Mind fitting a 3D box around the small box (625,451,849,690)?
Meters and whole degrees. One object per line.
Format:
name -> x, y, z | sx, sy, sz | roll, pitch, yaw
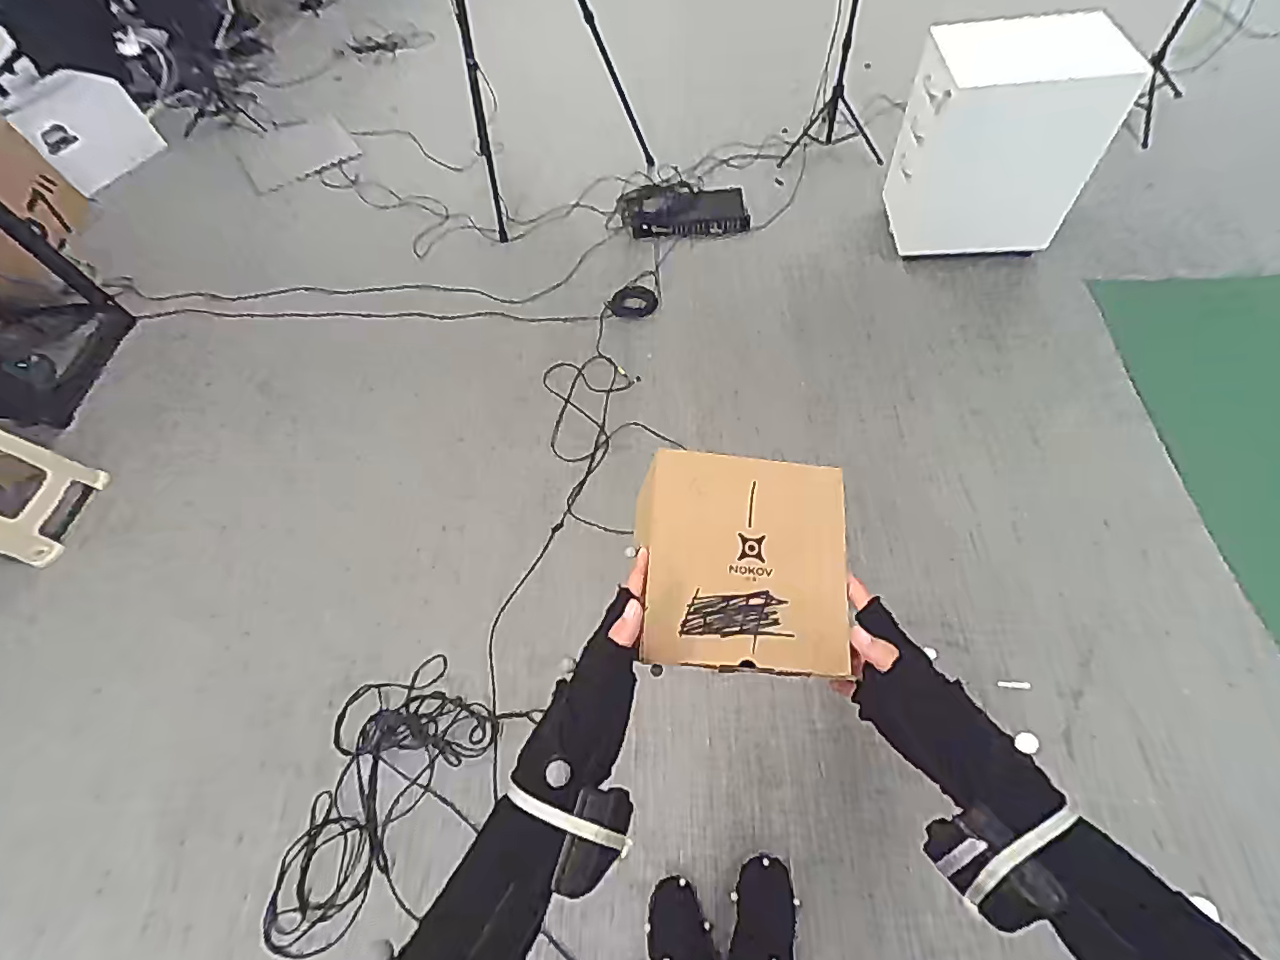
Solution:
small box -> 0.078, 0.091, 0.504 | 0.168, 0.176, 0.179 | 7, 72, -4
